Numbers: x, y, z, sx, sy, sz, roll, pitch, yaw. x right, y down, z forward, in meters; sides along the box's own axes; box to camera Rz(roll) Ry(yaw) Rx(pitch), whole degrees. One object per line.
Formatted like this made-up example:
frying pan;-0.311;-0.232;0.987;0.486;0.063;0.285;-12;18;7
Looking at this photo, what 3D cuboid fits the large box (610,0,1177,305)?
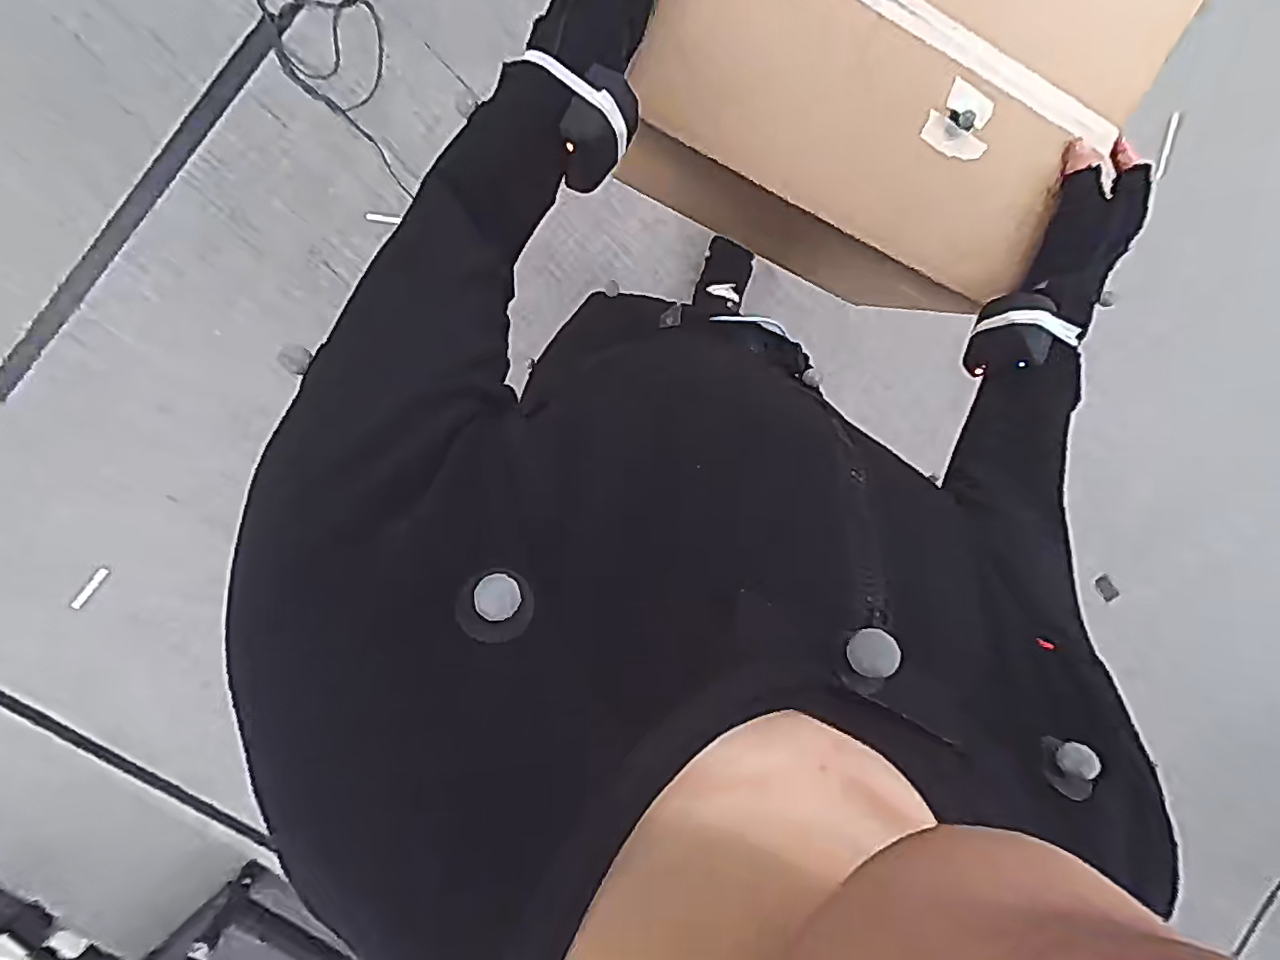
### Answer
large box;0.210;-0.423;0.586;0.408;0.320;0.320;22;108;-13
